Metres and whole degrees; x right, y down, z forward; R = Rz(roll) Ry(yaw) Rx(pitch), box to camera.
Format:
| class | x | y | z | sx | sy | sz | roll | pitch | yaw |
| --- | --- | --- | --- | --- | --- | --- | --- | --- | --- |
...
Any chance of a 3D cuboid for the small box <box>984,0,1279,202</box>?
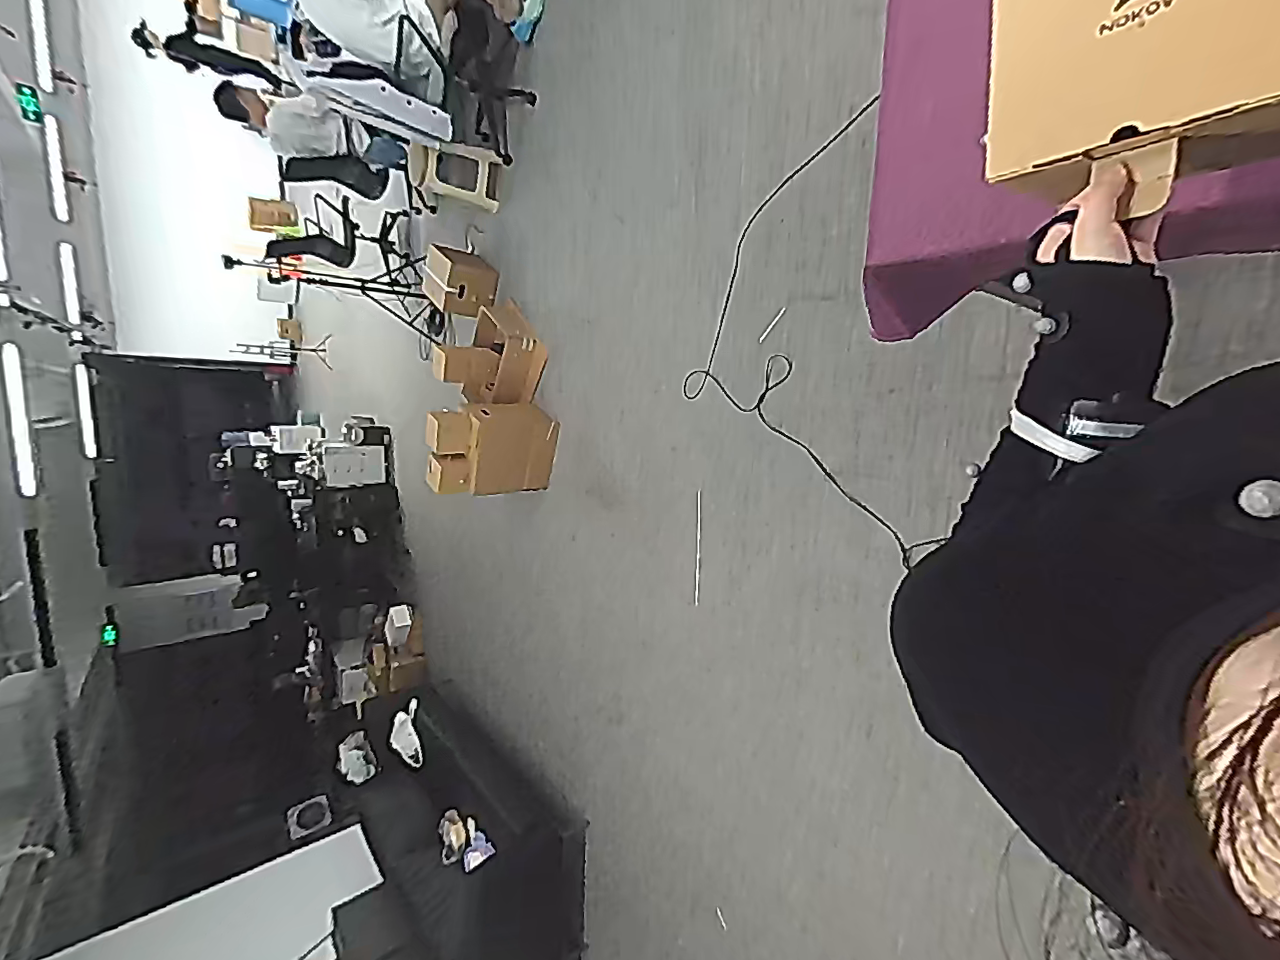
| class | x | y | z | sx | sy | sz | roll | pitch | yaw |
| --- | --- | --- | --- | --- | --- | --- | --- | --- | --- |
| small box | 0.384 | -0.329 | 0.403 | 0.168 | 0.176 | 0.179 | 10 | 110 | 51 |
